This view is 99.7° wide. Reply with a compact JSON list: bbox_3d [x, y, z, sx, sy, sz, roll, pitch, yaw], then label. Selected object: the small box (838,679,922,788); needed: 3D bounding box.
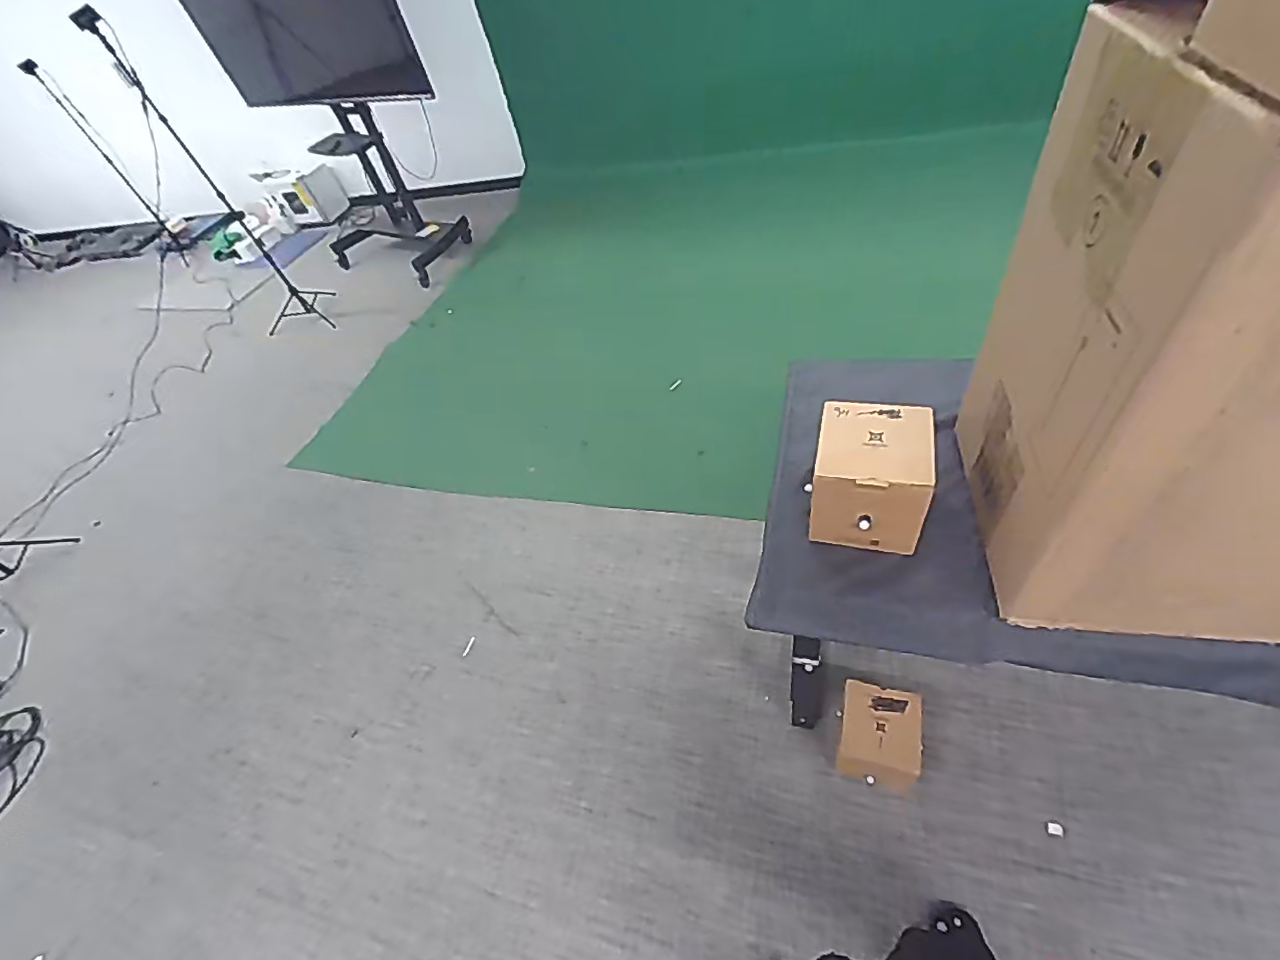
[{"bbox_3d":[0.573,0.612,1.302,0.168,0.176,0.179,6,53,21],"label":"small box"}]
